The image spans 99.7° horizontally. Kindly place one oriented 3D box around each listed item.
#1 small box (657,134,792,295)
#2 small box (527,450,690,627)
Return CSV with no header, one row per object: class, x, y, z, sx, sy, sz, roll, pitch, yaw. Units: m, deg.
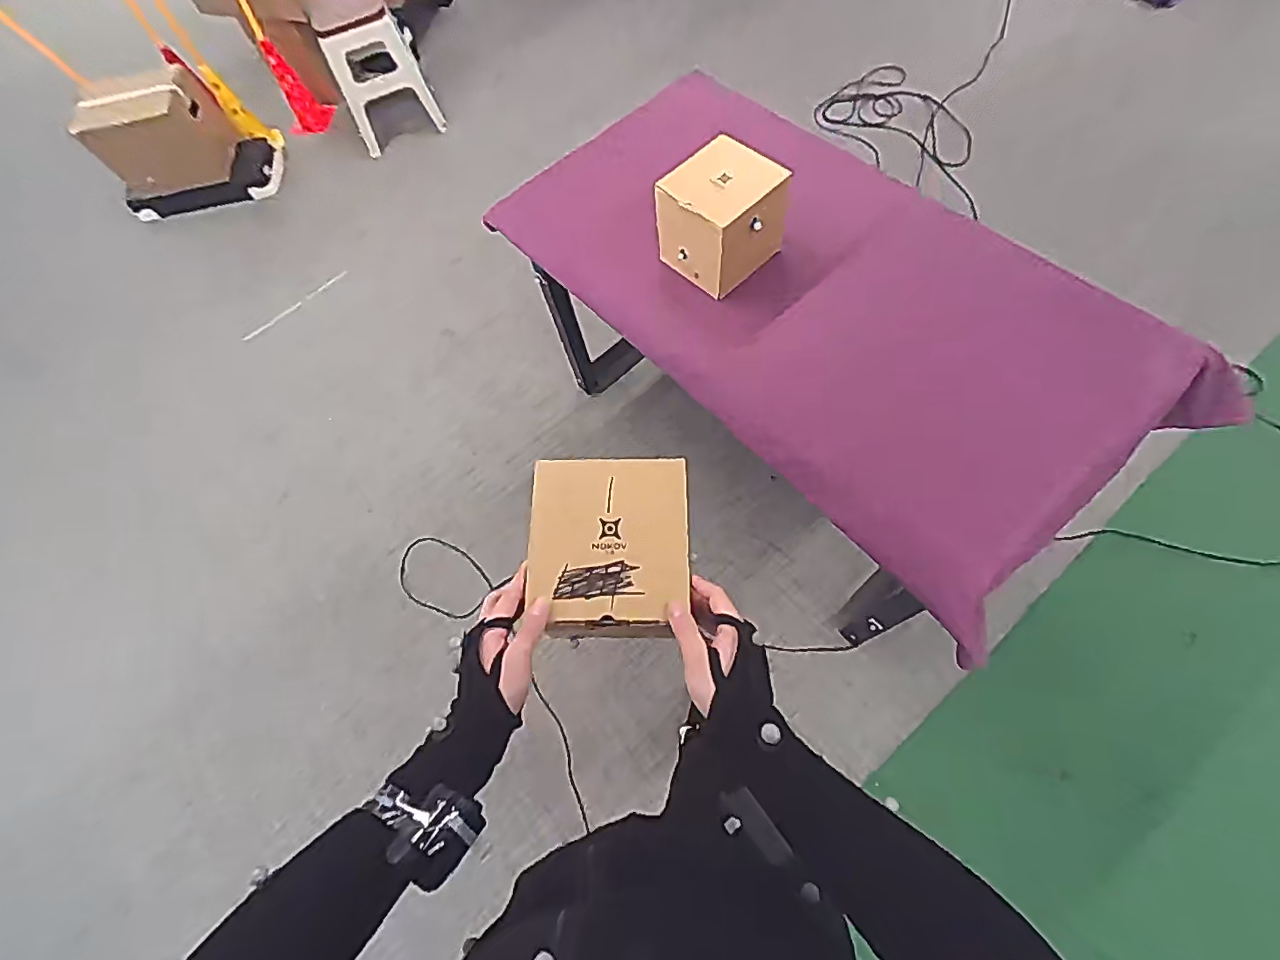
small box,0.151,-0.486,1.004,0.179,0.176,0.168,-42,69,-11
small box,-0.027,0.077,0.633,0.168,0.176,0.179,0,69,1
